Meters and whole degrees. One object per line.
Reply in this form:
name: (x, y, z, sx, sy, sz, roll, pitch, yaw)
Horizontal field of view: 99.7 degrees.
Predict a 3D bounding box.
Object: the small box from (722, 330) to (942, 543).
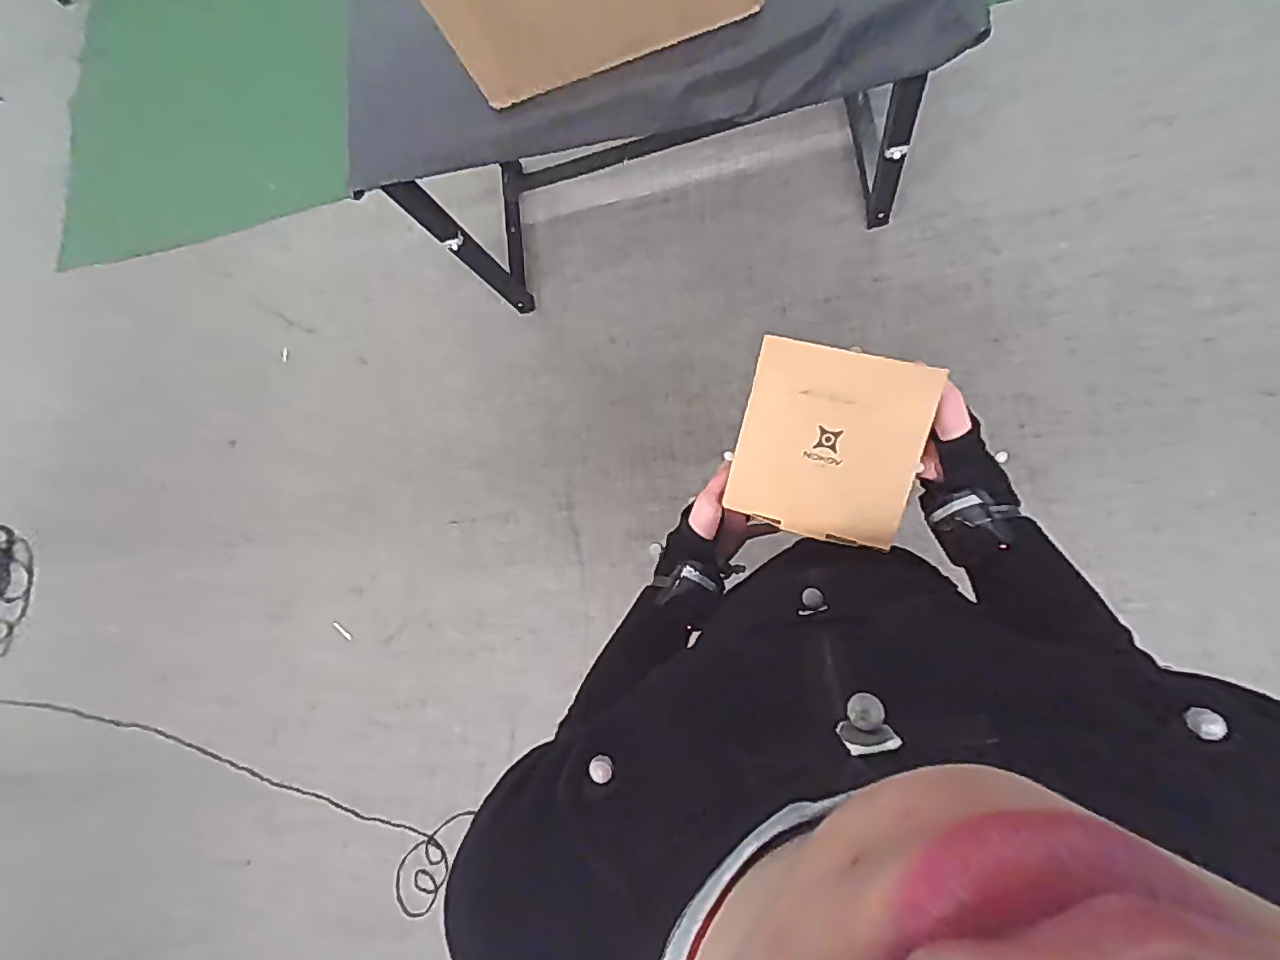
small box: (0.196, -0.053, 0.592, 0.168, 0.176, 0.179, 14, 101, 11)
